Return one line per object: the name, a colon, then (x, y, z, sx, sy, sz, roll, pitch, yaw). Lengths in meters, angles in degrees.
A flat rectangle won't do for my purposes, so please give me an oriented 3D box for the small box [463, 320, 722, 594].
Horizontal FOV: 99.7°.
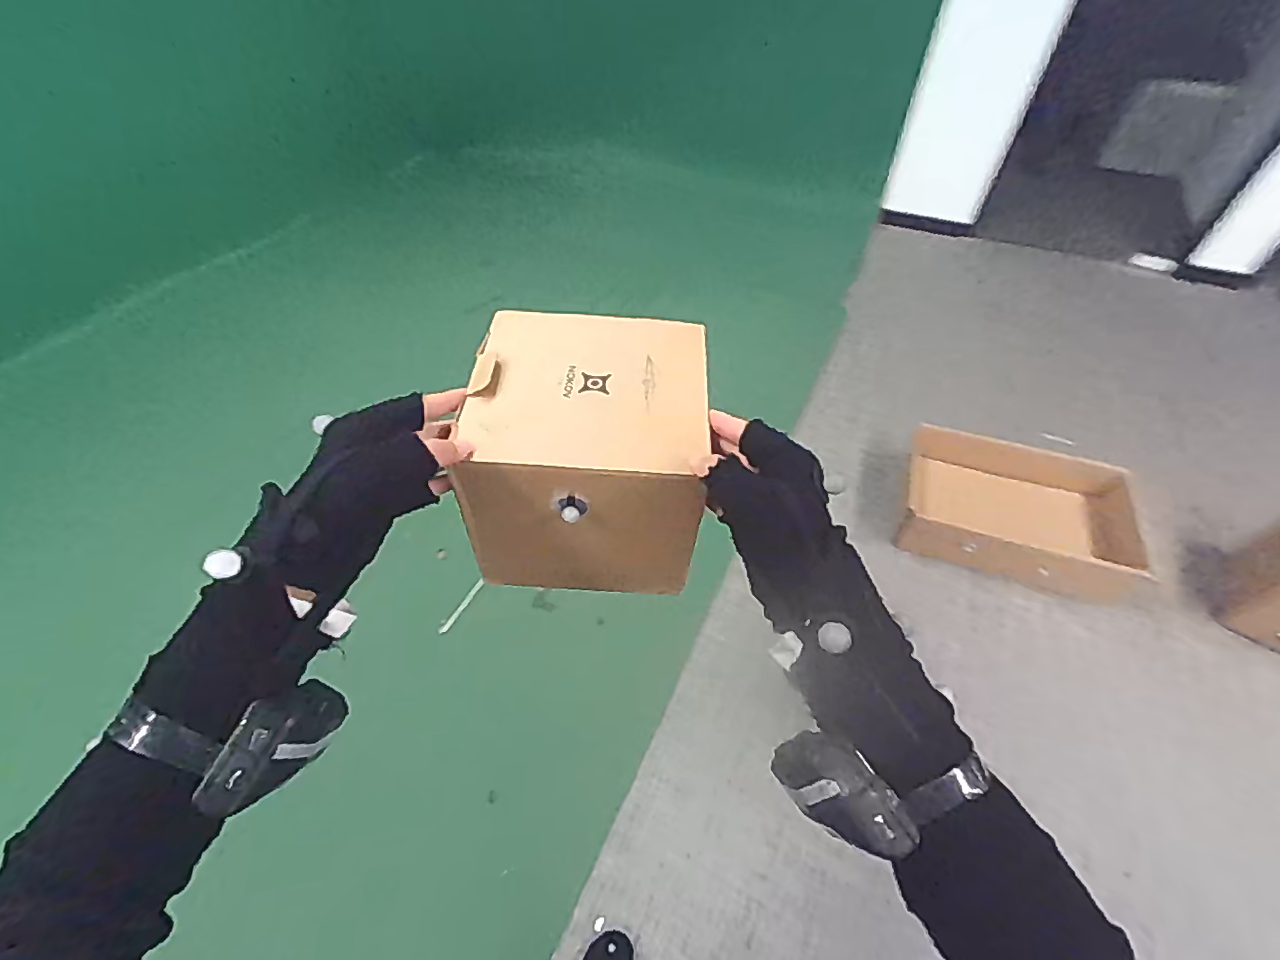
small box: (-0.032, -0.015, 0.467, 0.179, 0.176, 0.168, 5, 51, -2)
